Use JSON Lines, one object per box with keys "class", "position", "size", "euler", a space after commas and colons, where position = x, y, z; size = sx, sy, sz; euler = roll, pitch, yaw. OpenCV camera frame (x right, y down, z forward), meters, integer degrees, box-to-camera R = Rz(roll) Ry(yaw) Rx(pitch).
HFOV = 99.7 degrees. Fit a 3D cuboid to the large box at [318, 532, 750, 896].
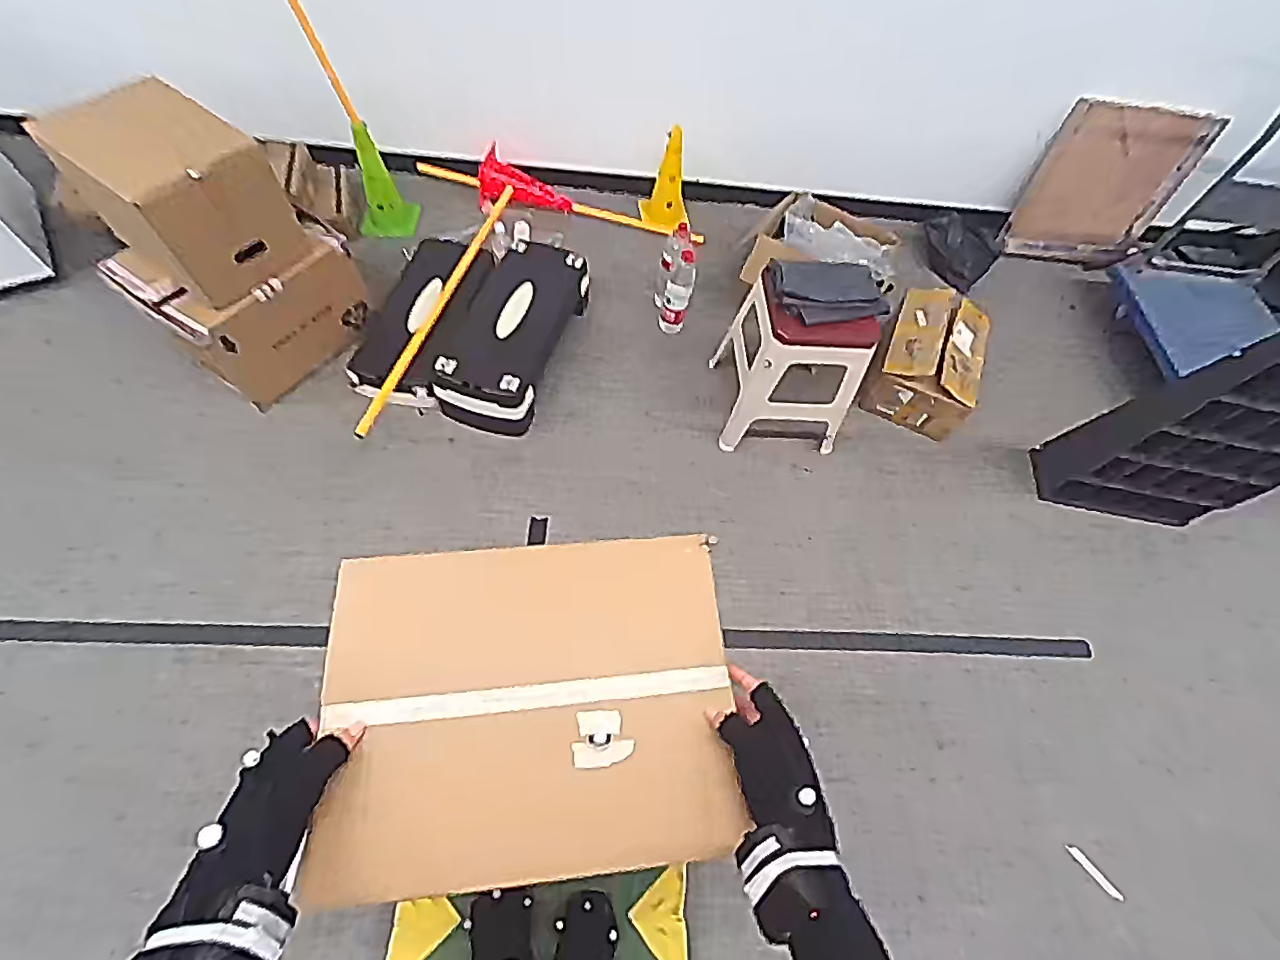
{"class": "large box", "position": [-0.118, 0.275, 0.691], "size": [0.408, 0.320, 0.320], "euler": [-3, 67, -6]}
